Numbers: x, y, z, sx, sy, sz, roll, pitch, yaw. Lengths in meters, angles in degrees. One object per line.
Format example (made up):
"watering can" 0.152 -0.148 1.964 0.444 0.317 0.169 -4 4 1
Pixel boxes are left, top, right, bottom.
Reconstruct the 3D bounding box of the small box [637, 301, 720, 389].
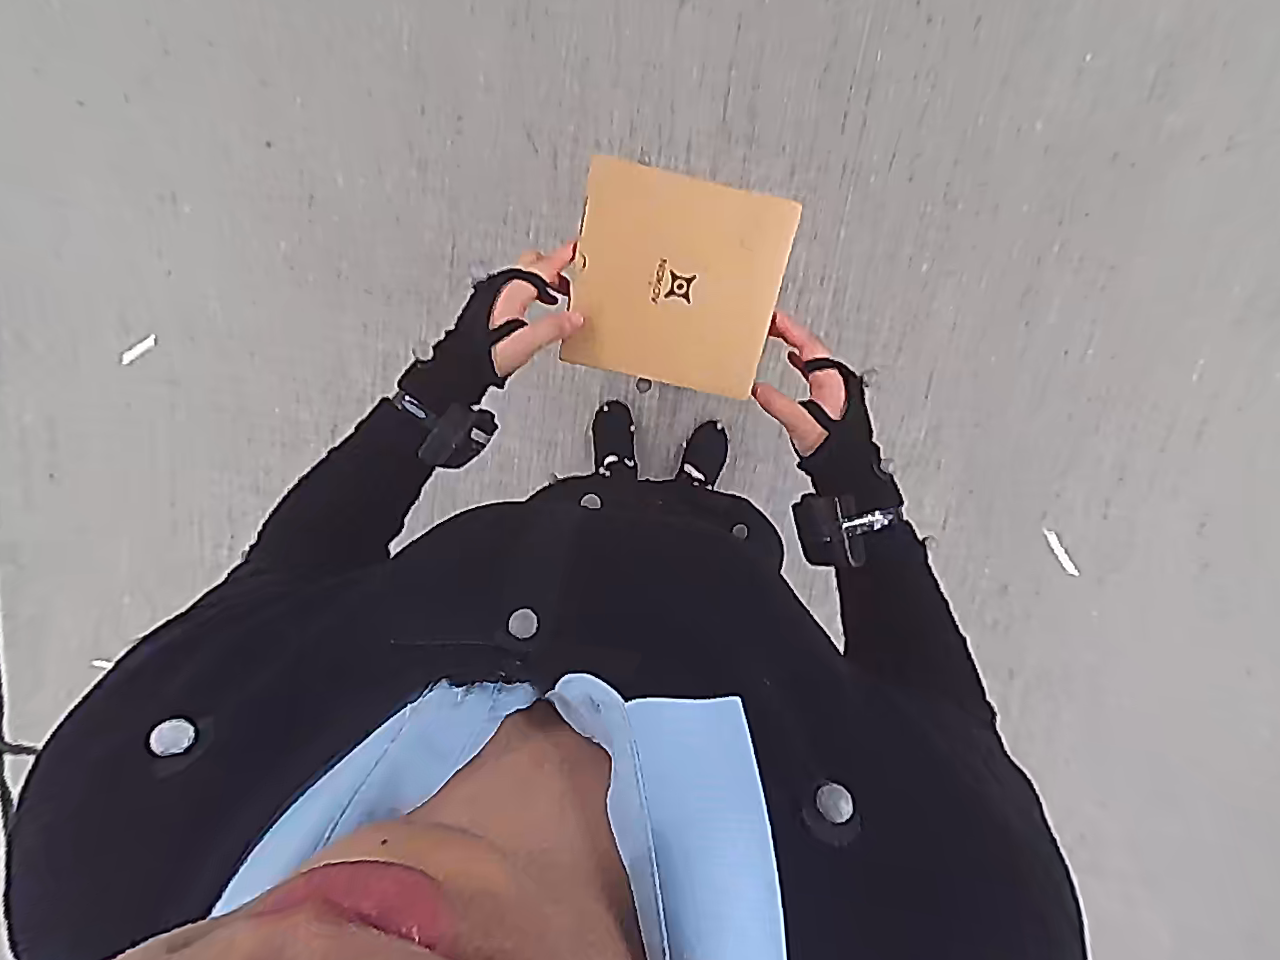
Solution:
"small box" 0.094 -0.328 1.341 0.168 0.176 0.179 12 101 1
